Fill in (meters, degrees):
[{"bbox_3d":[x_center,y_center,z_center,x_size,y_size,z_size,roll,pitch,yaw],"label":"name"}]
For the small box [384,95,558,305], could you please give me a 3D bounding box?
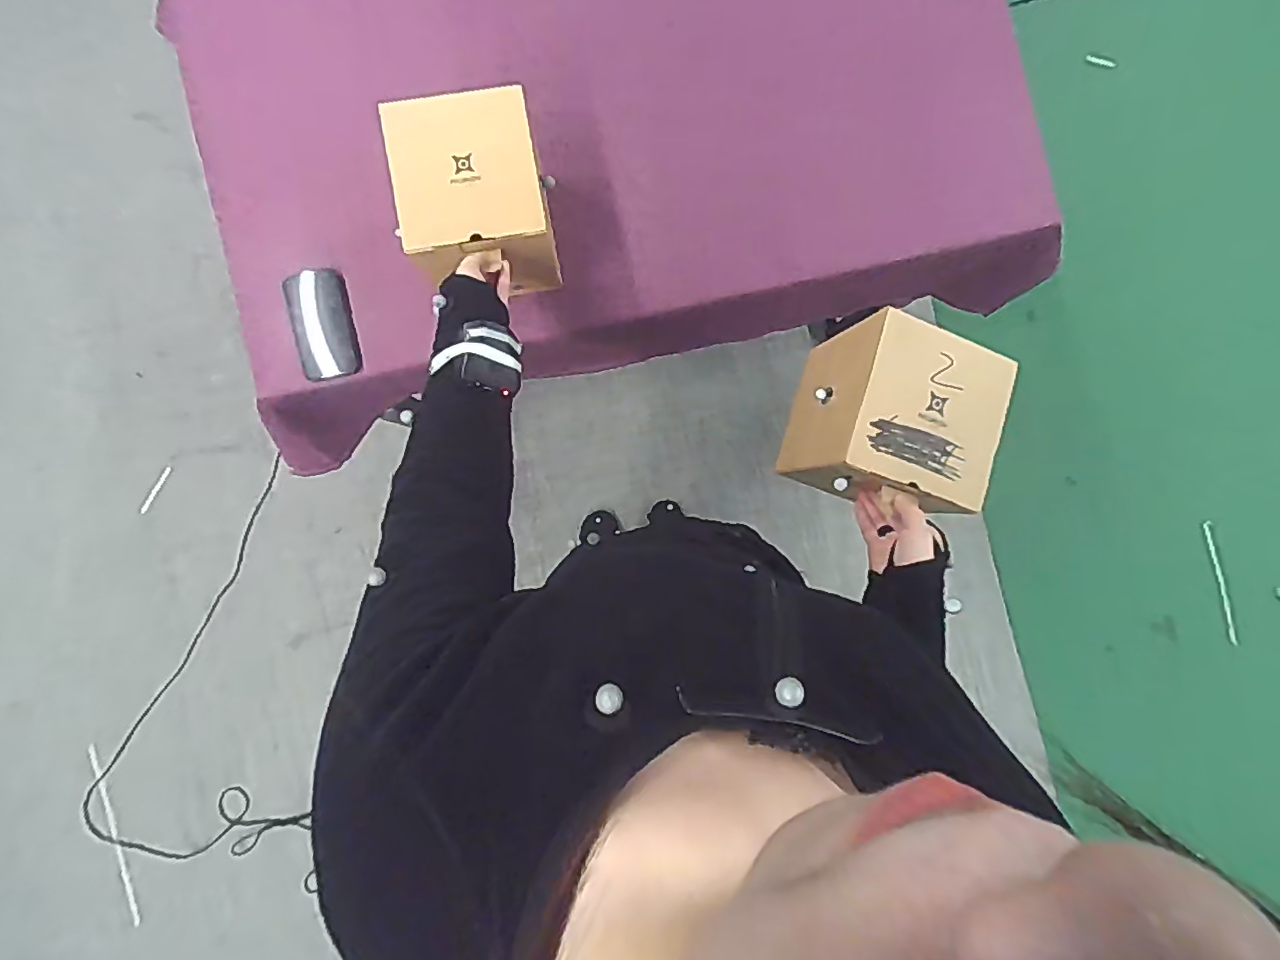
[{"bbox_3d":[-0.207,-0.351,0.705,0.168,0.176,0.179,-10,89,-3],"label":"small box"}]
